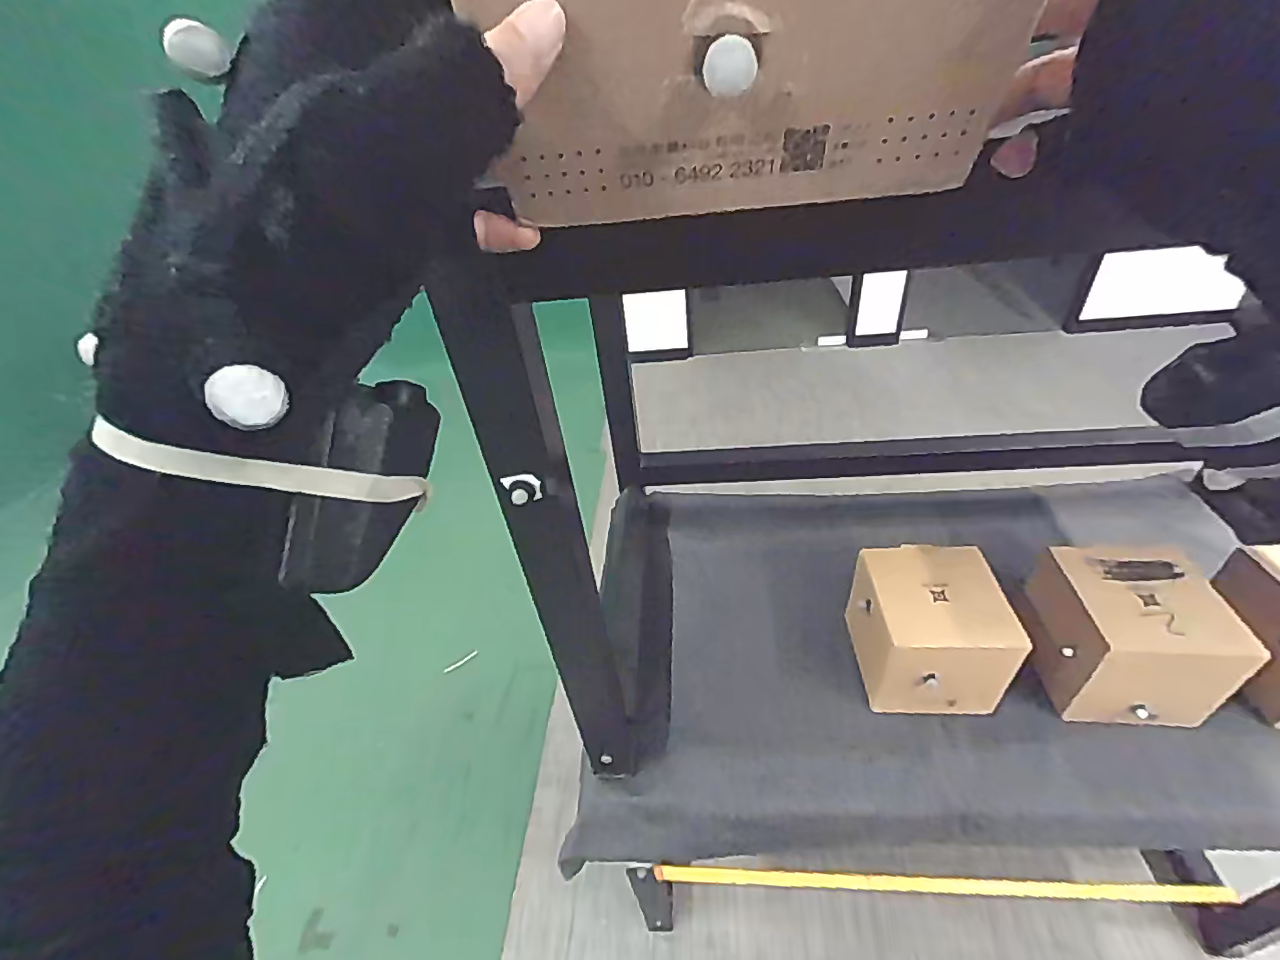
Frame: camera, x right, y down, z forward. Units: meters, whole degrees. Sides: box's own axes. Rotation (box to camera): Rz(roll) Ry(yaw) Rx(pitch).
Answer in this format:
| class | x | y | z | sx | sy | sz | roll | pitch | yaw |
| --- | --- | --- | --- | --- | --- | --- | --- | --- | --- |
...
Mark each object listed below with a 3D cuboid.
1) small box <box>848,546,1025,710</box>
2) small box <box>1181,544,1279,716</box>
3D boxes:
| class | x | y | z | sx | sy | sz | roll | pitch | yaw |
| --- | --- | --- | --- | --- | --- | --- | --- | --- | --- |
| small box | 0.414 | 0.217 | 0.792 | 0.168 | 0.176 | 0.179 | -2 | 38 | 7 |
| small box | 0.902 | 0.204 | 0.719 | 0.168 | 0.176 | 0.179 | -3 | 37 | 6 |
